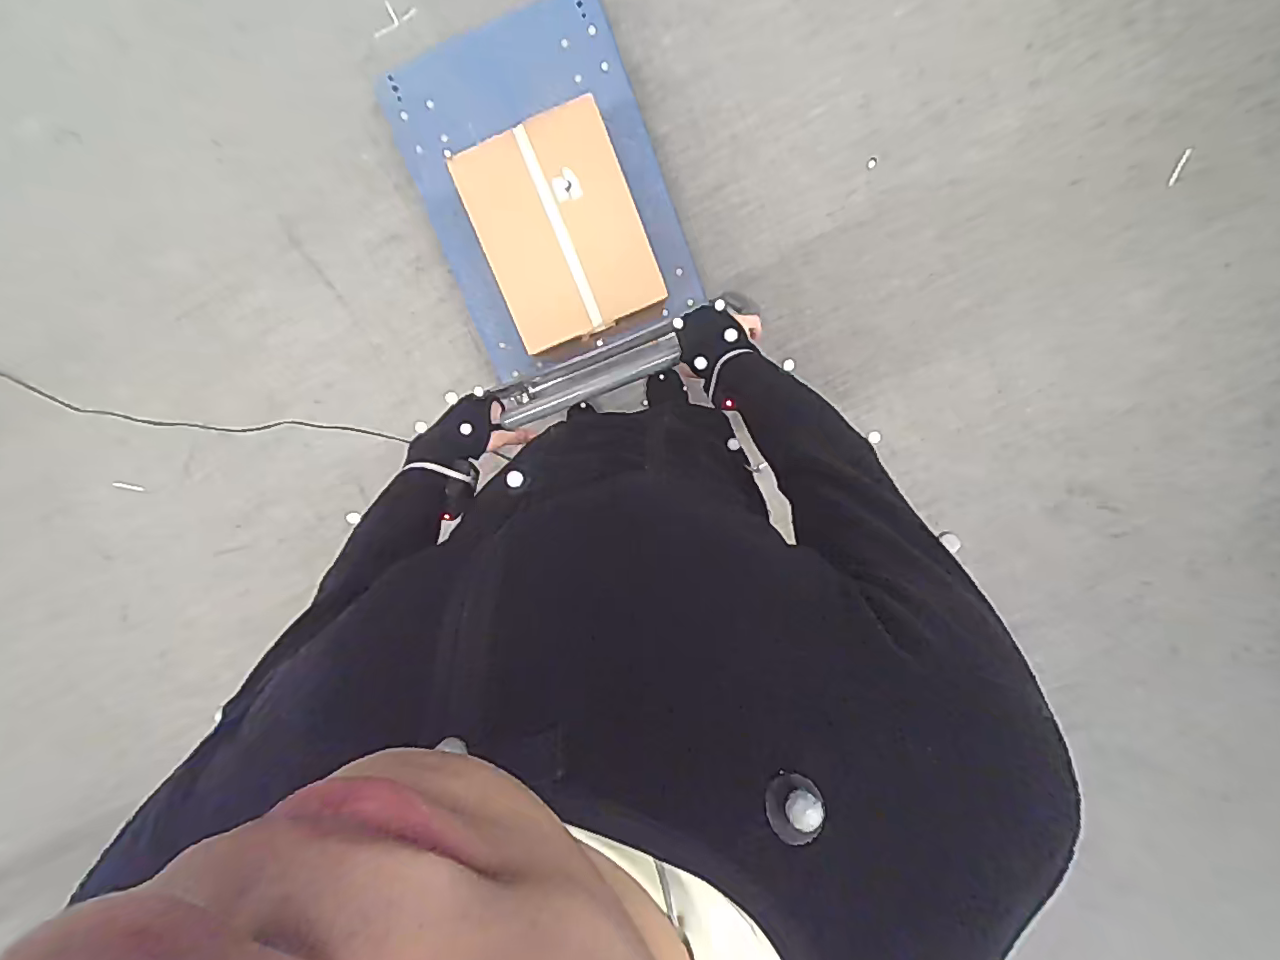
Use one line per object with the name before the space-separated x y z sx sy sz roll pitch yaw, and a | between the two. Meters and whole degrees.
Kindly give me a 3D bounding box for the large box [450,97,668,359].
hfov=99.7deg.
large box | -0.153 -0.522 1.218 0.320 0.320 0.408 -21 99 4
